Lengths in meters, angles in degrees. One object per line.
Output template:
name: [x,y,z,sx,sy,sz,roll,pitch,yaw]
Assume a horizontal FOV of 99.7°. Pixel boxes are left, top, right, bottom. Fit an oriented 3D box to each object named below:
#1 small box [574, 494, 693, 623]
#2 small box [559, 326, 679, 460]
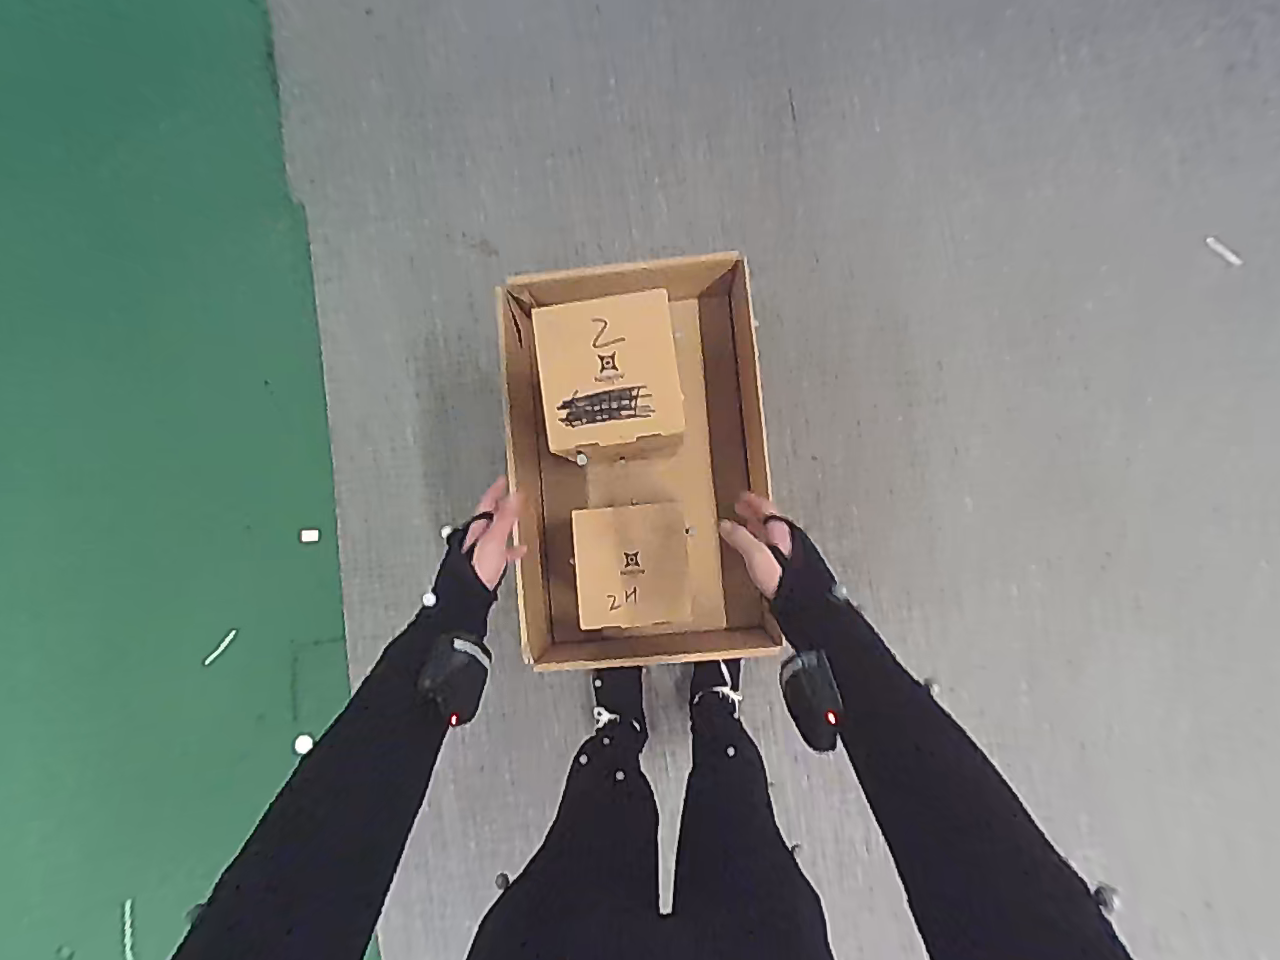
small box: [-0.006,0.120,0.861,0.168,0.176,0.179,-5,86,4]
small box: [-0.029,-0.132,0.883,0.168,0.176,0.179,-7,88,3]
